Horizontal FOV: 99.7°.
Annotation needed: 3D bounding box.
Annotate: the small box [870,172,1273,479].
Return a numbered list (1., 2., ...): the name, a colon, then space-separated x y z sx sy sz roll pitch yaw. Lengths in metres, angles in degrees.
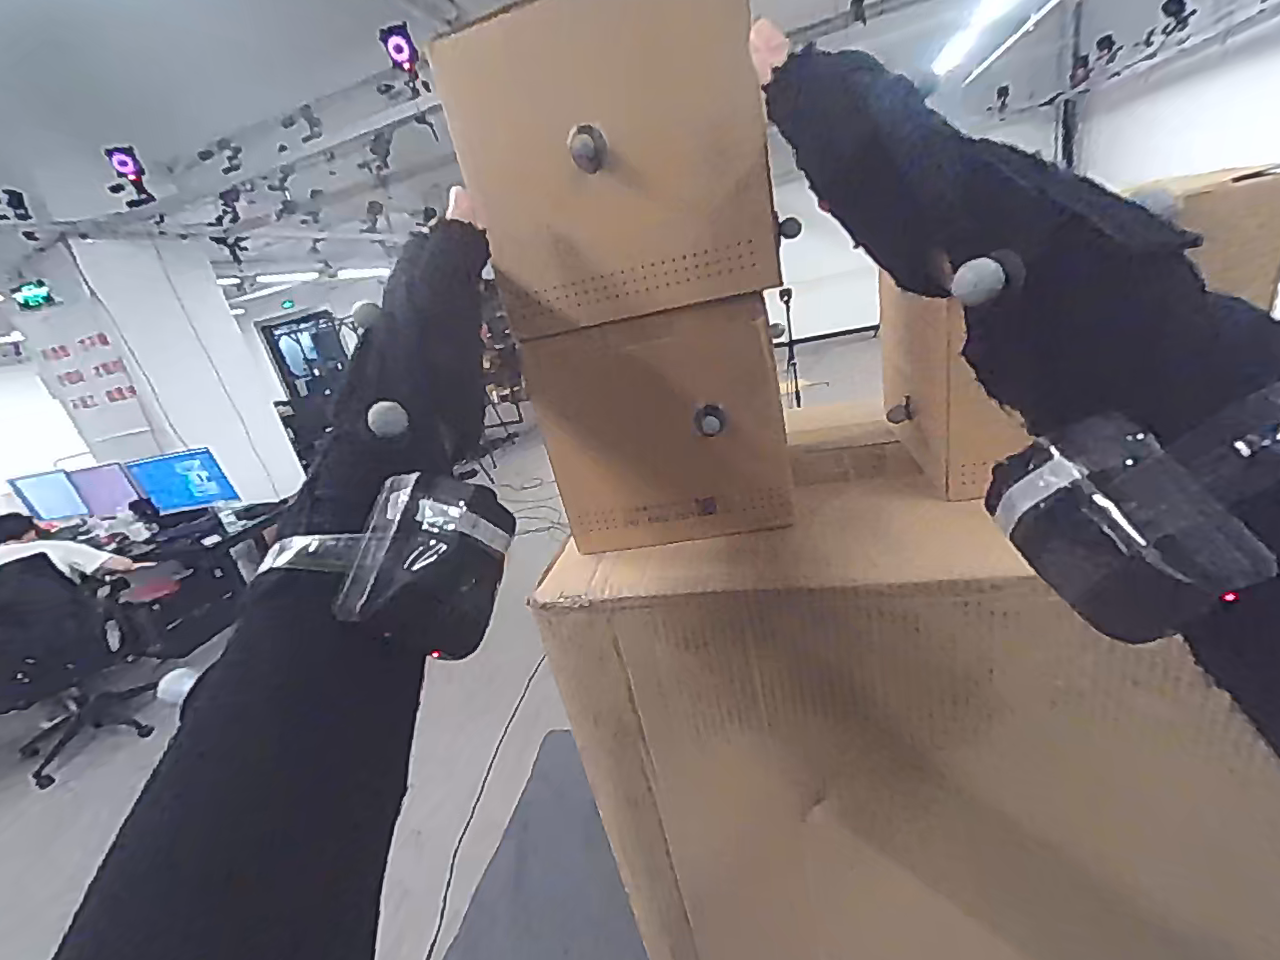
1. small box: 0.278 -0.108 0.399 0.168 0.176 0.179 -8 25 14

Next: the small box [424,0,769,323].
1. small box: -0.005 -0.209 0.379 0.179 0.176 0.168 -7 24 16

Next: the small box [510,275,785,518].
1. small box: 0.017 -0.079 0.448 0.168 0.176 0.179 -11 24 9
